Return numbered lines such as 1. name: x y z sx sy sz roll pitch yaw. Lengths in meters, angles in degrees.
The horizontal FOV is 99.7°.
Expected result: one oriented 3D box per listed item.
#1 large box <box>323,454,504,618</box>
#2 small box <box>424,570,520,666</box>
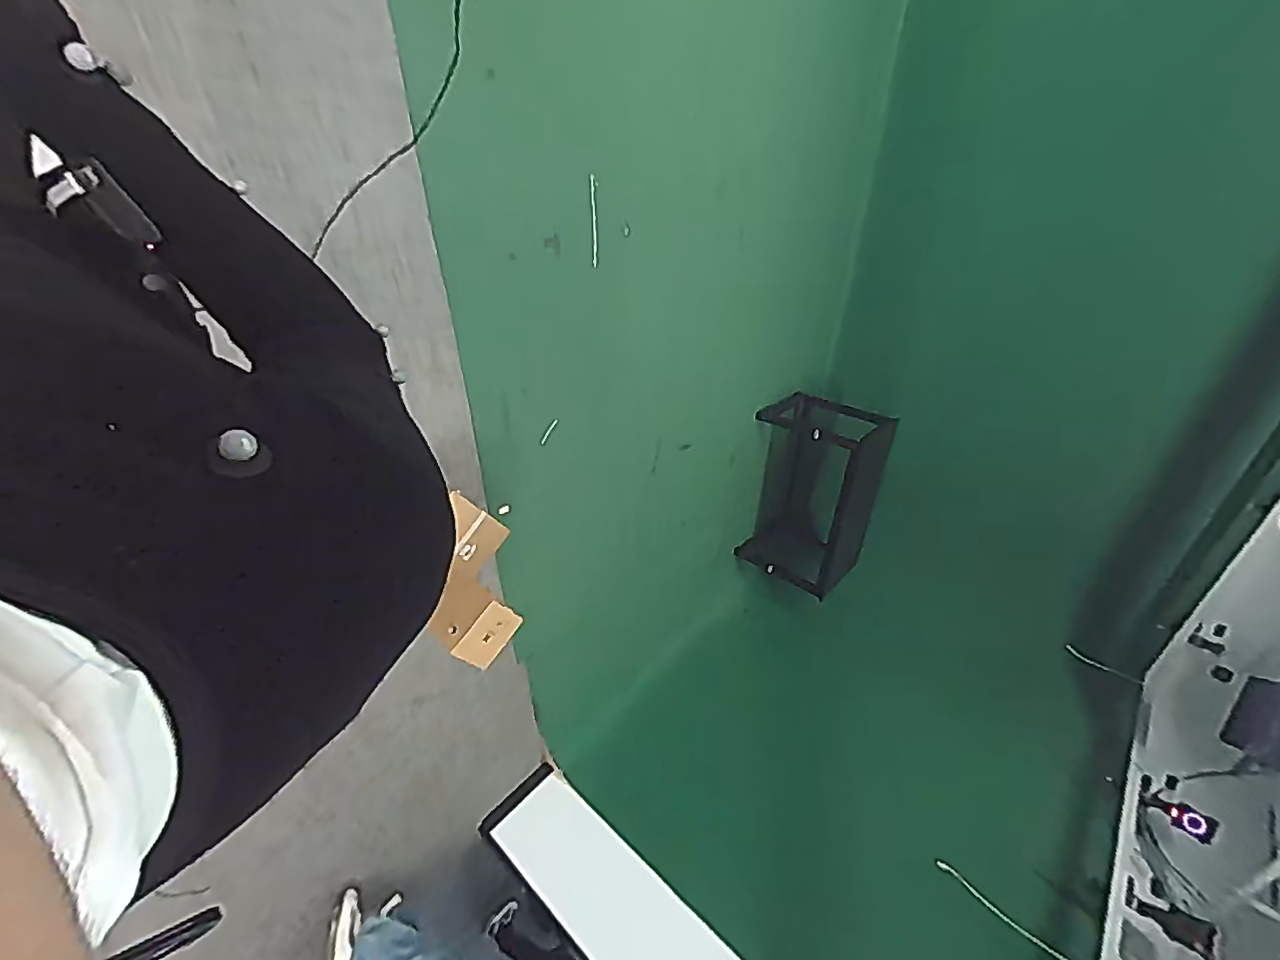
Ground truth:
1. large box: -0.745 0.192 1.799 0.408 0.320 0.320 -56 146 -13
2. small box: -0.485 0.391 1.540 0.179 0.176 0.168 -52 144 -16
